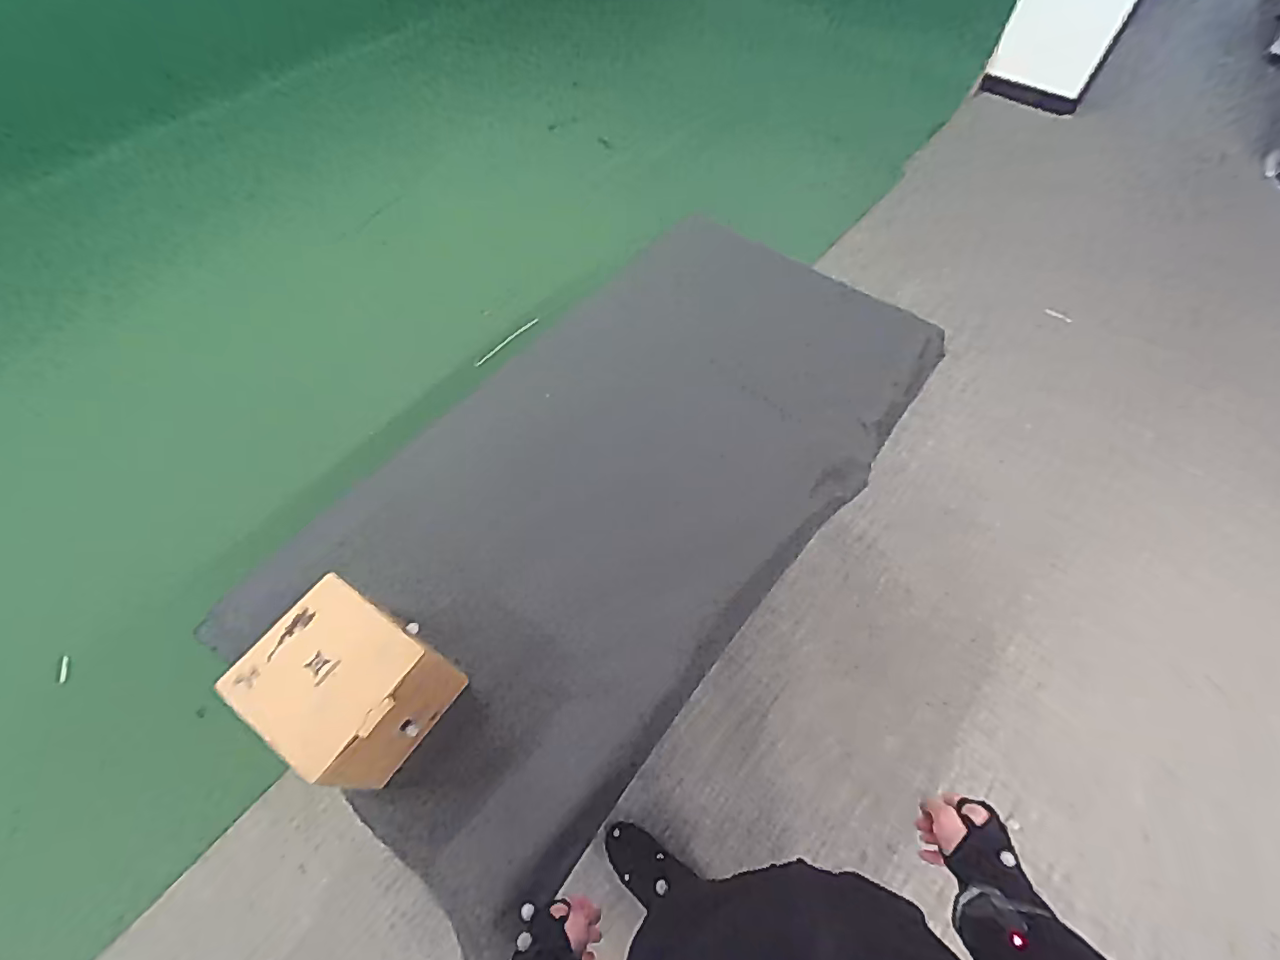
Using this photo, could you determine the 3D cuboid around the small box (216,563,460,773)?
[{"bbox_3d":[-0.360,0.239,0.683,0.179,0.176,0.168,31,66,17],"label":"small box"}]
